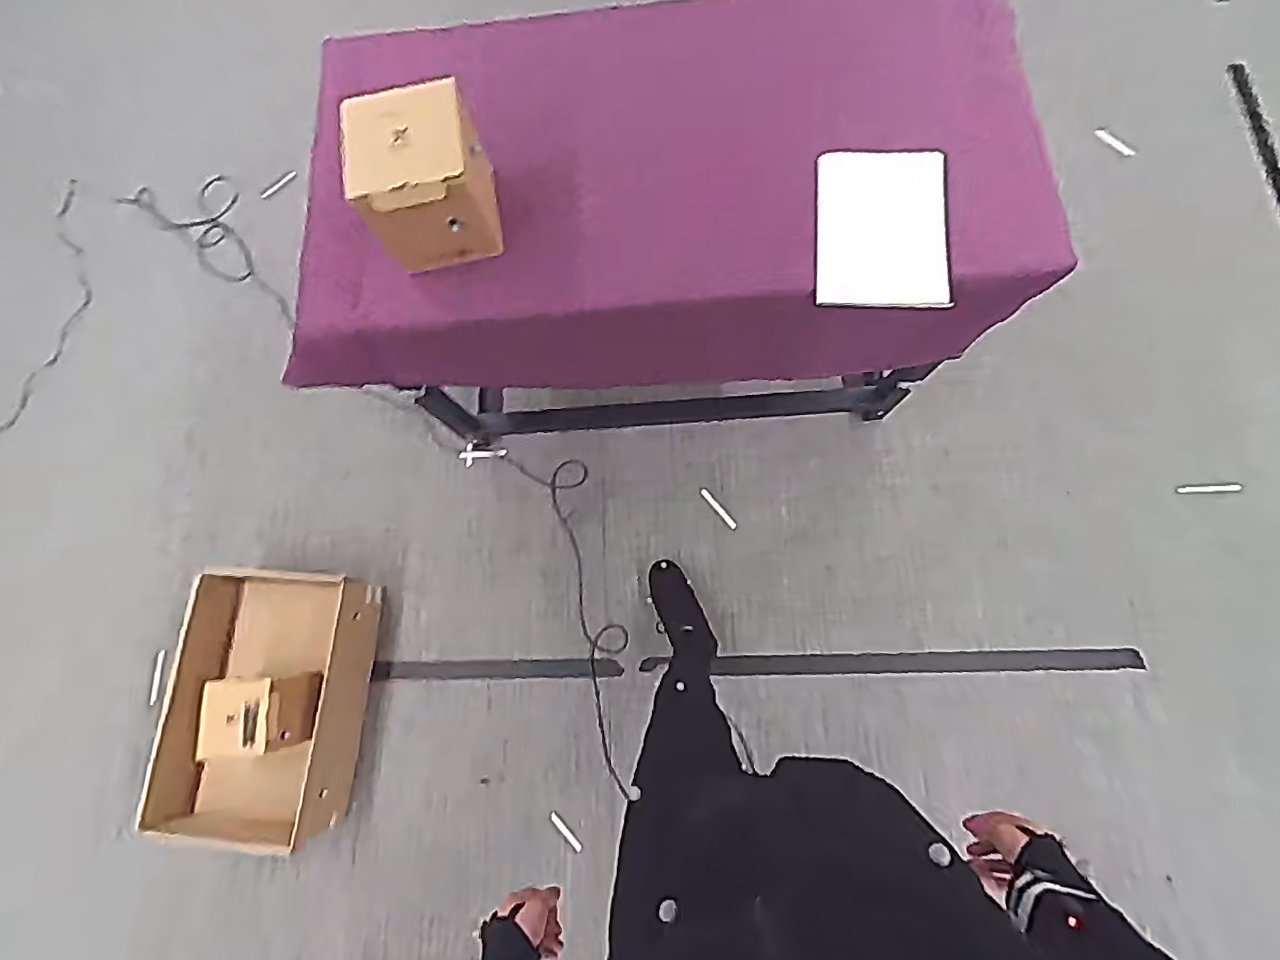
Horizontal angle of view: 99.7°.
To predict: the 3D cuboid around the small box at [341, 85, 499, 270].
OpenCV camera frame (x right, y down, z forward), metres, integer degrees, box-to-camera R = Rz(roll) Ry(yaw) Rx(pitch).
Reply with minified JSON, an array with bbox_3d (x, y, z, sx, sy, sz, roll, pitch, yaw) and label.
[{"bbox_3d":[-0.326,-0.446,0.827,0.168,0.176,0.179,-11,76,1],"label":"small box"}]
